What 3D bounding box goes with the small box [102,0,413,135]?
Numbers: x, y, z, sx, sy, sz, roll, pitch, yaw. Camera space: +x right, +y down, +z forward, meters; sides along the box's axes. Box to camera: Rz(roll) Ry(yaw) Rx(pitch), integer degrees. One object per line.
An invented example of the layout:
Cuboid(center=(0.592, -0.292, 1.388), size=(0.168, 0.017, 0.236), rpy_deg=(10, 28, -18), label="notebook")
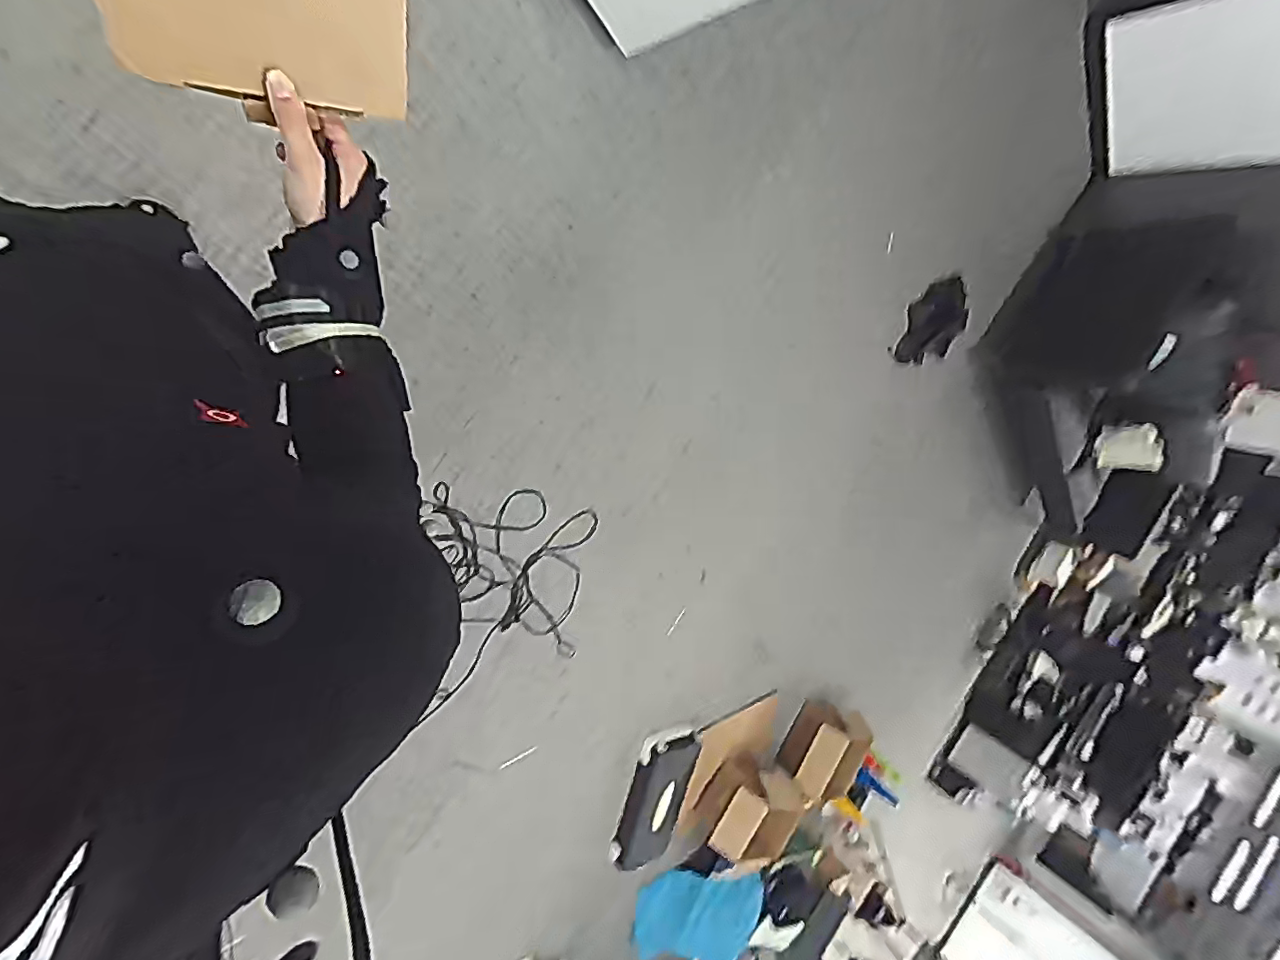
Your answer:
Cuboid(center=(-0.249, -0.365, 0.353), size=(0.168, 0.176, 0.179), rpy_deg=(-10, 143, -28), label="small box")
